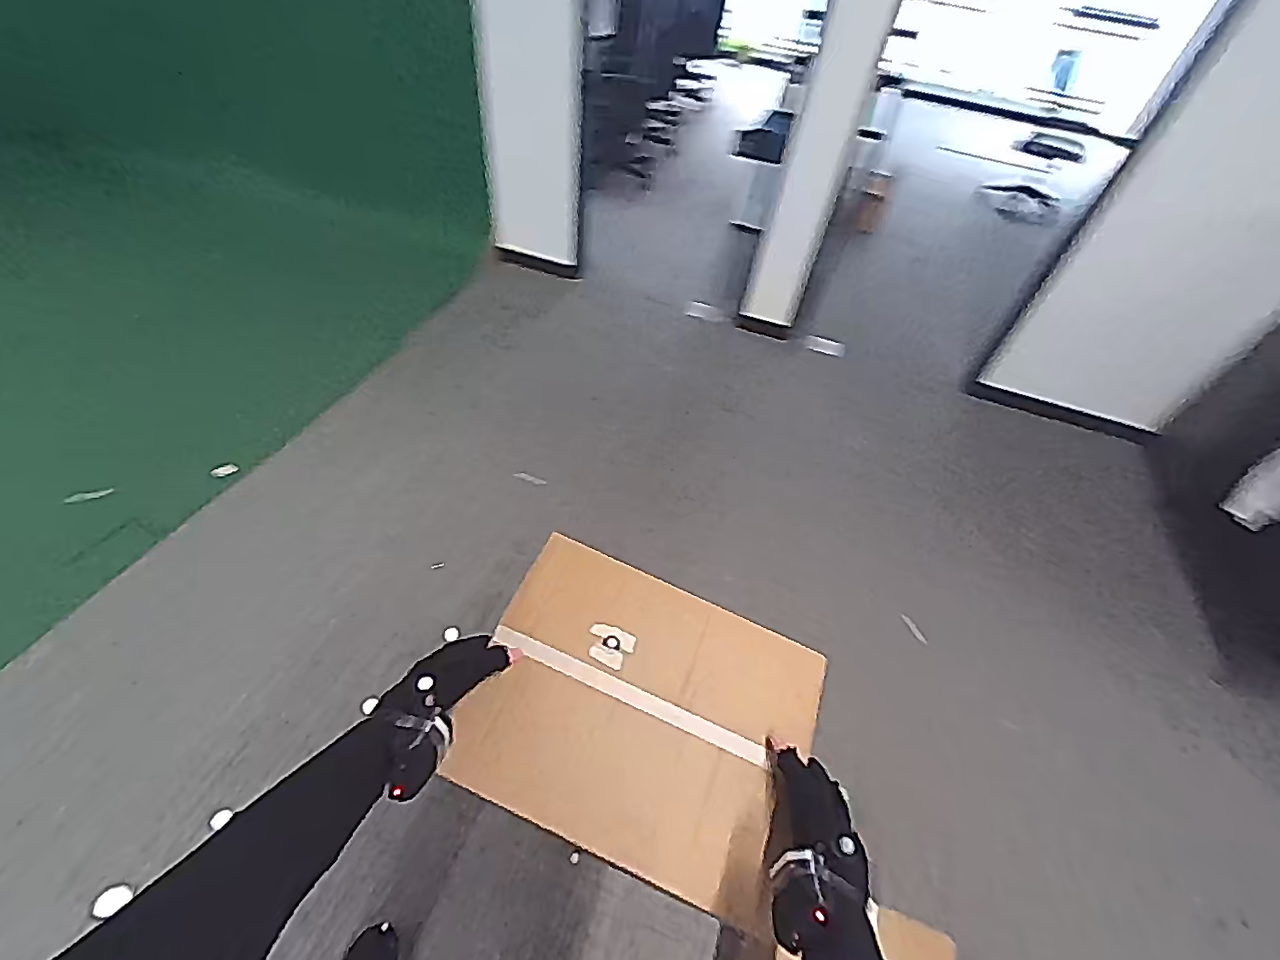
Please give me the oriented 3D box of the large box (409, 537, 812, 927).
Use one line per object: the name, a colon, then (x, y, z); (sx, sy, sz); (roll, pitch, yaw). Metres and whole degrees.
large box: (-0.029, 0.342, 0.759); (0.408, 0.320, 0.320); (22, 55, 5)
